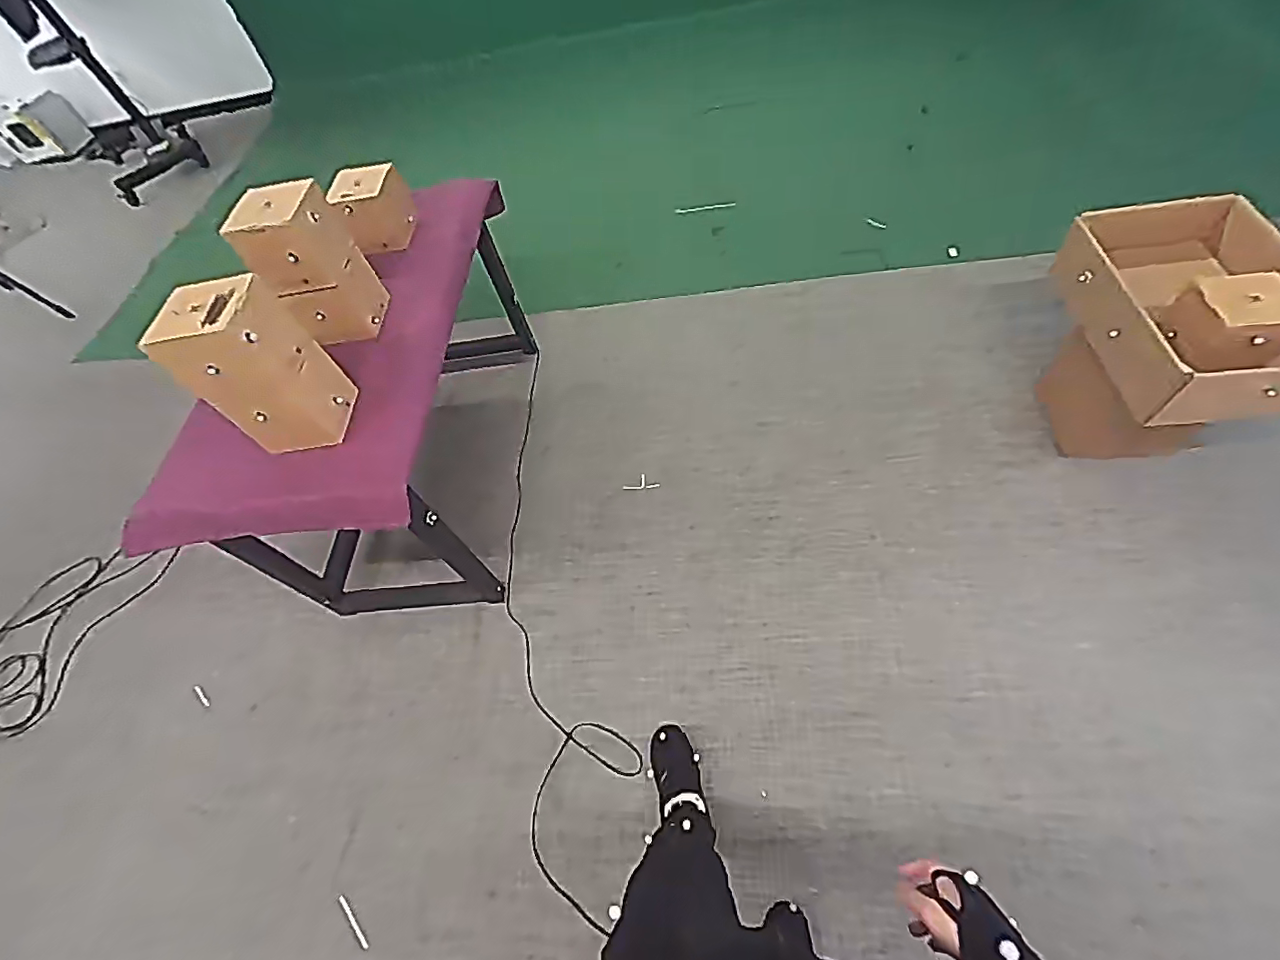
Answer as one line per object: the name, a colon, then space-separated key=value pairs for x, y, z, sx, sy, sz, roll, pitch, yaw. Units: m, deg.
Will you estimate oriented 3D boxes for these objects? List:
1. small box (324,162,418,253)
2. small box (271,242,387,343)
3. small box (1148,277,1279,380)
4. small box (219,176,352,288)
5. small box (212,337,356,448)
small box: x=-0.782 y=-0.800 z=1.594 sx=0.168 sy=0.176 sz=0.179 roll=-5 pitch=57 yaw=7
small box: x=-0.780 y=-0.473 z=1.380 sx=0.179 sy=0.176 sz=0.168 roll=-6 pitch=56 yaw=7
small box: x=1.397 y=-0.358 z=1.298 sx=0.179 sy=0.176 sz=0.168 roll=-3 pitch=58 yaw=9
small box: x=-0.800 y=-0.561 z=1.245 sx=0.168 sy=0.176 sz=0.179 roll=-5 pitch=56 yaw=6
small box: x=-0.769 y=-0.185 z=1.188 sx=0.179 sy=0.176 sz=0.168 roll=-7 pitch=56 yaw=6
